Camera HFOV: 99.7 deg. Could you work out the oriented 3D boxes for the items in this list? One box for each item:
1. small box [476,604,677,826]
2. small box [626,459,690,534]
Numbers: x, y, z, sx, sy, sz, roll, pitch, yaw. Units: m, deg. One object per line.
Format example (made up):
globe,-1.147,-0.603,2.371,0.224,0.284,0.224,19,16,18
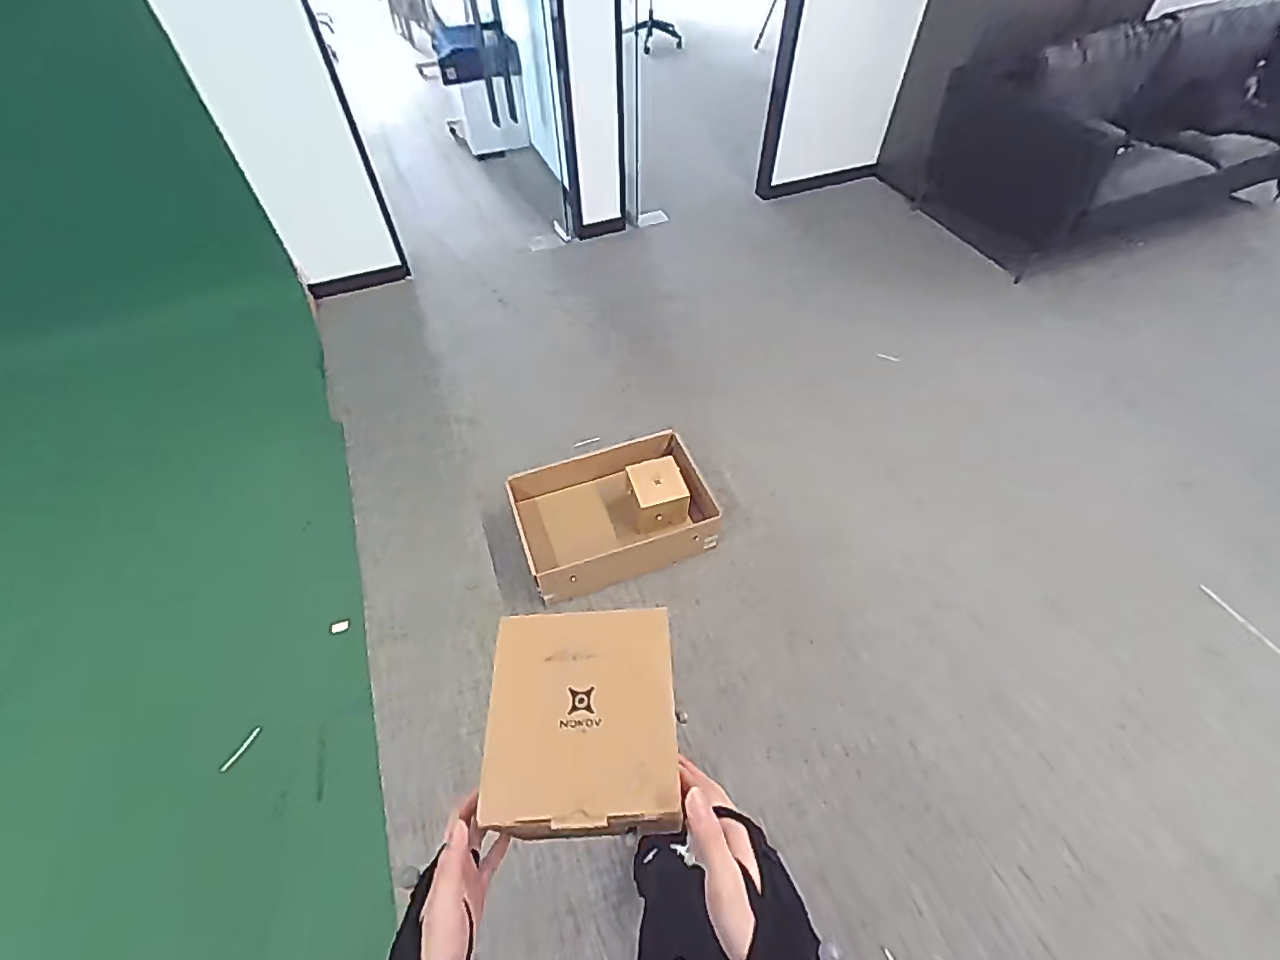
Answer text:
small box,-0.048,0.241,0.542,0.168,0.176,0.179,-2,53,1
small box,0.059,0.062,1.803,0.168,0.176,0.179,-14,53,-10
